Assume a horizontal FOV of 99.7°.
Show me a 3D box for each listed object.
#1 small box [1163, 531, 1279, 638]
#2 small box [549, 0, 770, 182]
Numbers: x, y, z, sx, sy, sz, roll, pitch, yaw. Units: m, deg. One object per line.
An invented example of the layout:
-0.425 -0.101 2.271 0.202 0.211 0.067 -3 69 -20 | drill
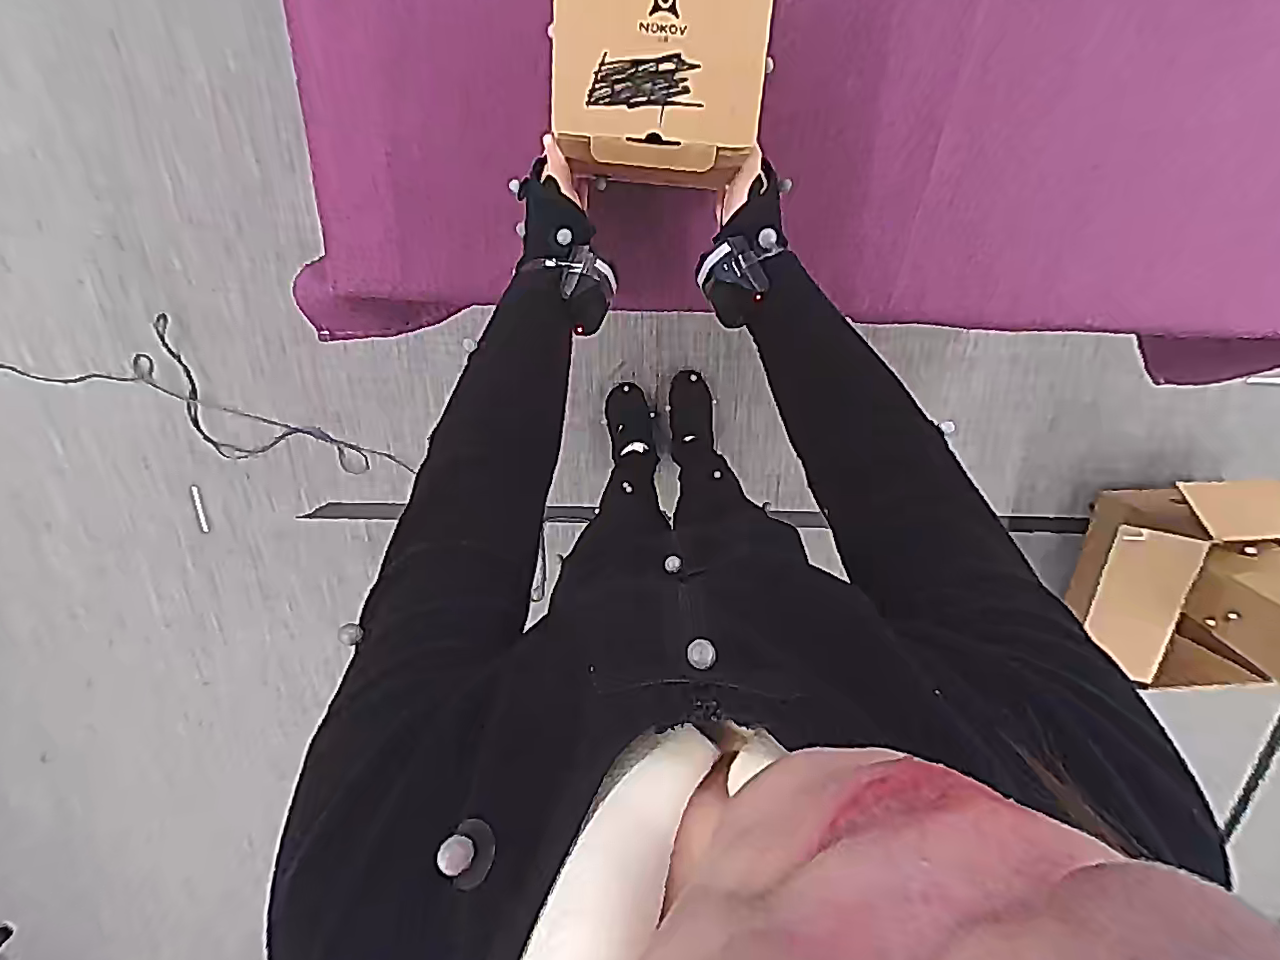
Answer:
1.403 0.239 1.289 0.168 0.176 0.179 -18 112 10 | small box
0.016 -0.379 0.480 0.168 0.176 0.179 4 109 -2 | small box
